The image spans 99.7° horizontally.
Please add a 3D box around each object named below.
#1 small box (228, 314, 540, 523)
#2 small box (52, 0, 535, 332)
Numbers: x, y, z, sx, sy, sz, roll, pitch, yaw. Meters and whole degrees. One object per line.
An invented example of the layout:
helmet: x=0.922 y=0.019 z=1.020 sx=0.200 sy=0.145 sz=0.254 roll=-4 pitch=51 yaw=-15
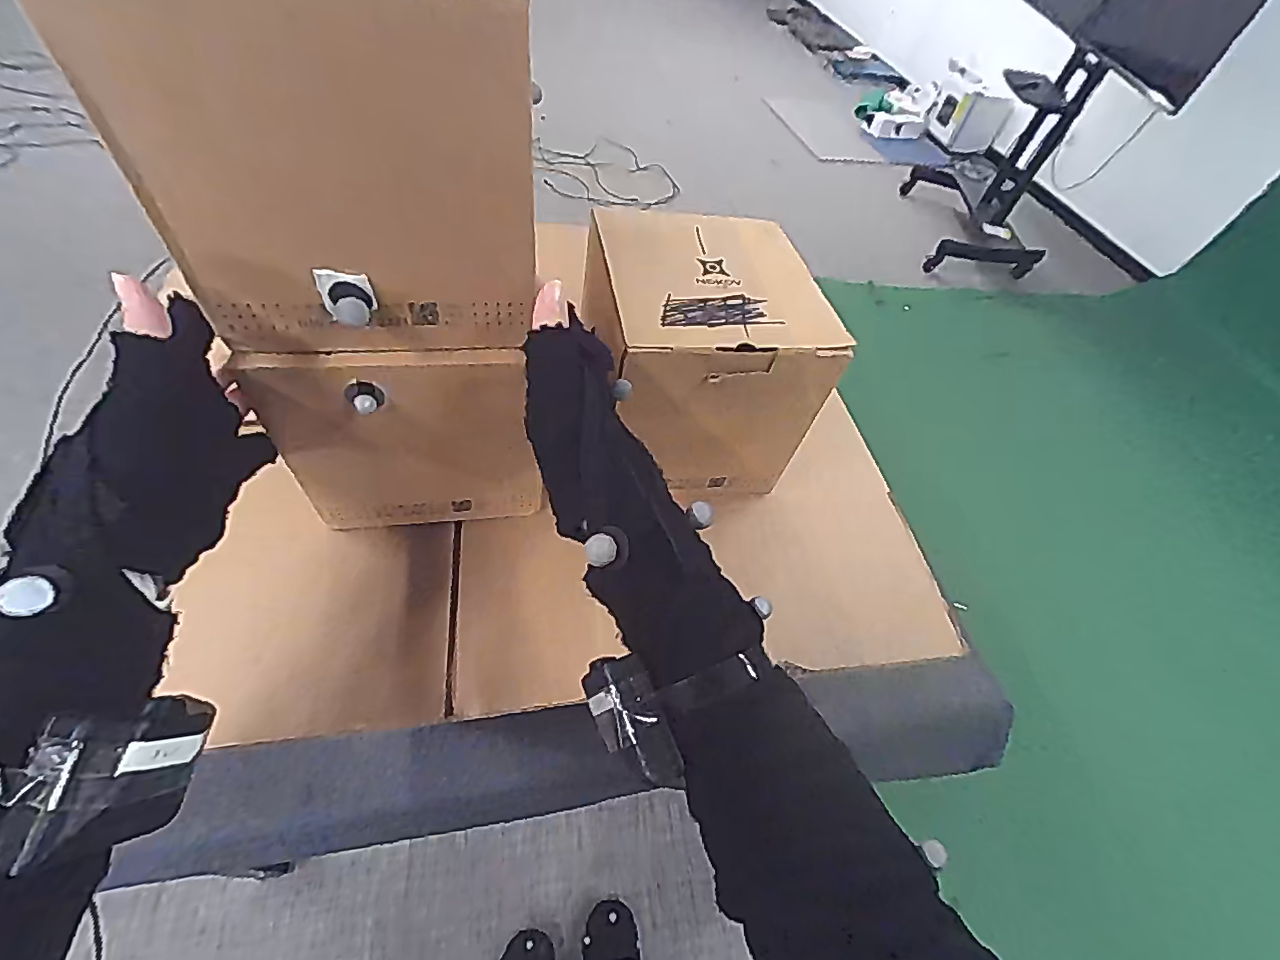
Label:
small box: x=-0.167 y=-0.087 z=0.420 sx=0.168 sy=0.176 sz=0.179 roll=-4 pitch=53 yaw=-10
small box: x=-0.147 y=-0.200 z=0.284 sx=0.168 sy=0.176 sz=0.179 roll=-6 pitch=56 yaw=-13
